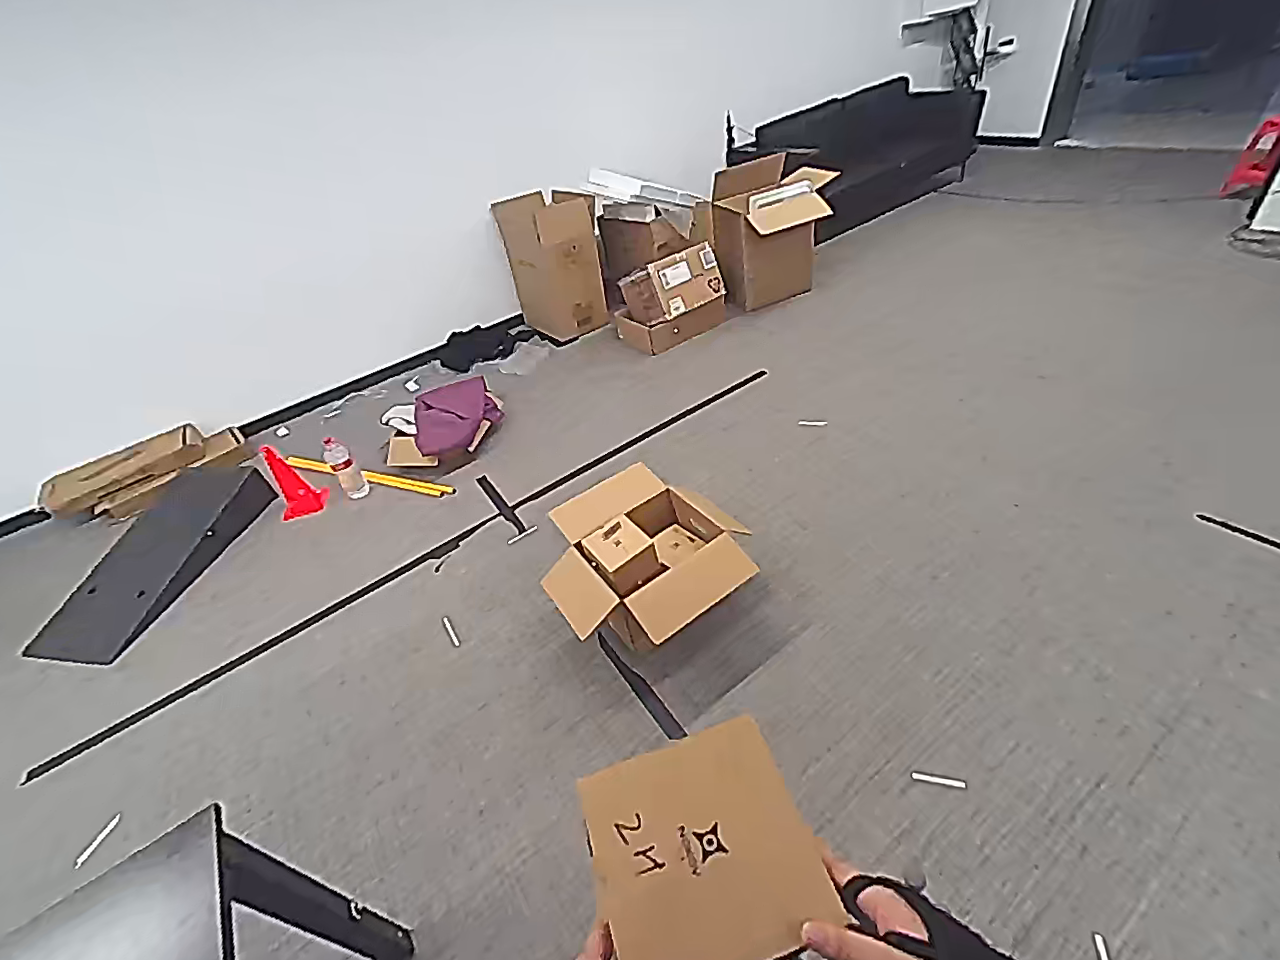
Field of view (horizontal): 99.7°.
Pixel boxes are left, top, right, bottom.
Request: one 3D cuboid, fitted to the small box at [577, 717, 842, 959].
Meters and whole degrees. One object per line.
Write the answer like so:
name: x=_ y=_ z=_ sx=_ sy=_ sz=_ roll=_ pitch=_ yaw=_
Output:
small box: x=0.055 y=0.356 z=0.504 sx=0.179 sy=0.176 sz=0.168 roll=-17 pitch=46 yaw=-8
